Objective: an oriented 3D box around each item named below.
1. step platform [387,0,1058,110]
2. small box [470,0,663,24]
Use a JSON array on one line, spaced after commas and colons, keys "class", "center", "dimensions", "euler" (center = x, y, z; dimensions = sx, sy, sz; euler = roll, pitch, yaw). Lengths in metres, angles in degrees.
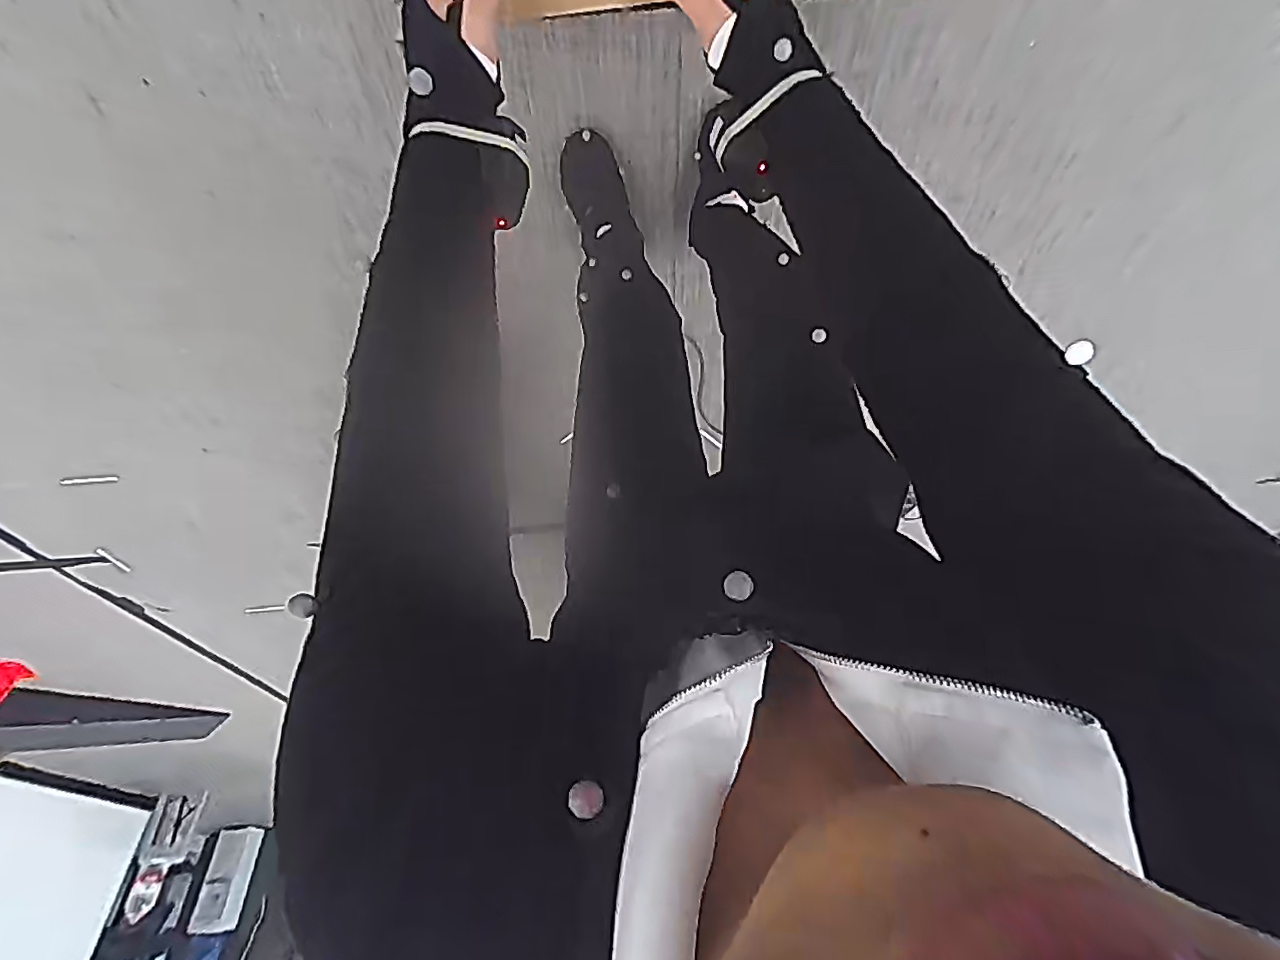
[{"class": "step platform", "center": [0.085, -0.588, 0.540], "dimensions": [0.684, 0.204, 0.286], "euler": [-6, 140, -1]}, {"class": "small box", "center": [-0.063, -0.496, 0.430], "dimensions": [0.179, 0.176, 0.168], "euler": [-7, 140, 1]}]
